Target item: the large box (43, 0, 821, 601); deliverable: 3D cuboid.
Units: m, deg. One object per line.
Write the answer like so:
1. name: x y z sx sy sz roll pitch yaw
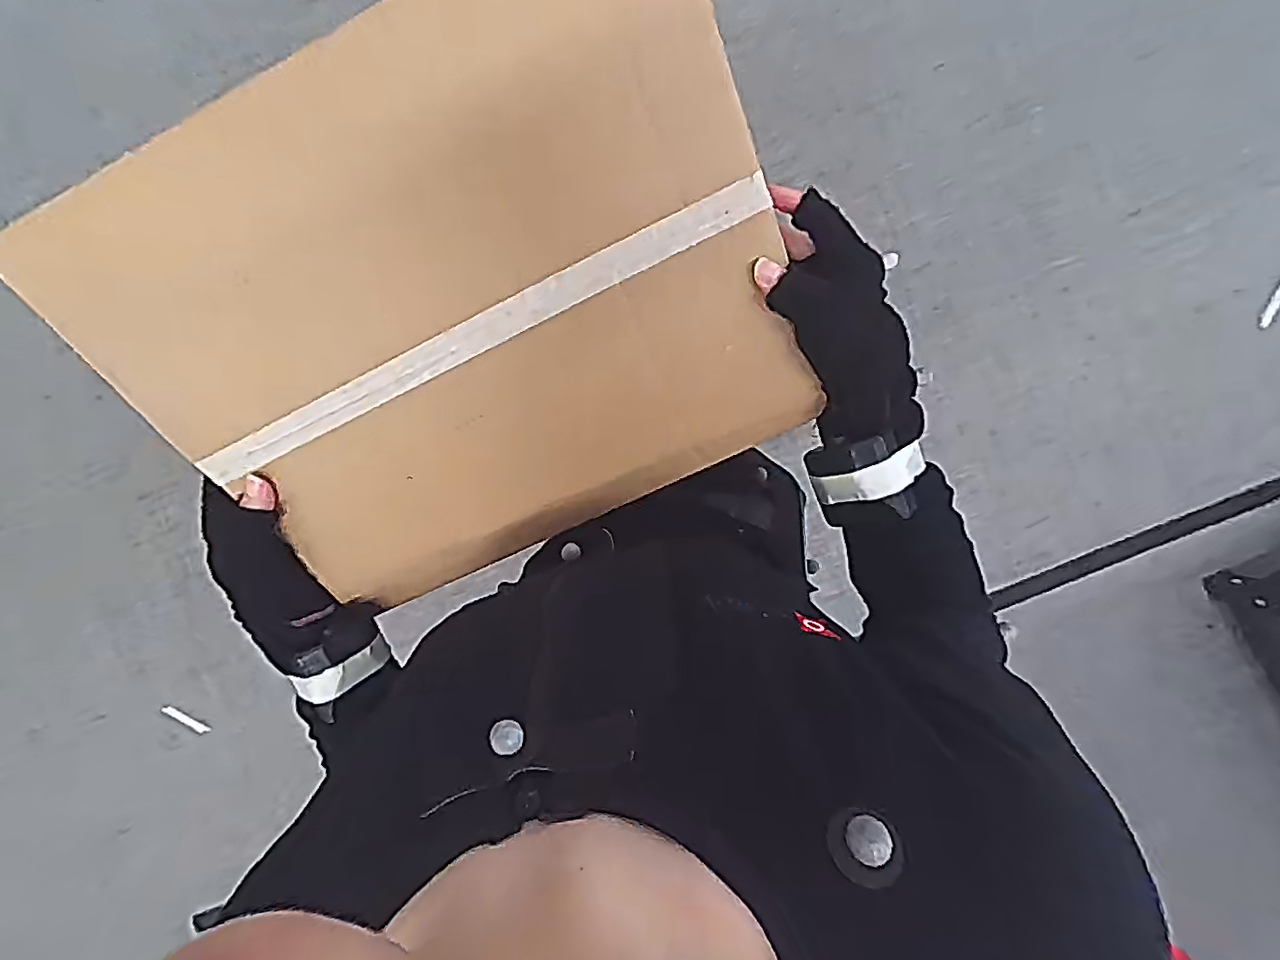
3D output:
1. large box: -0.120 -0.167 0.484 0.408 0.320 0.320 -24 120 7
